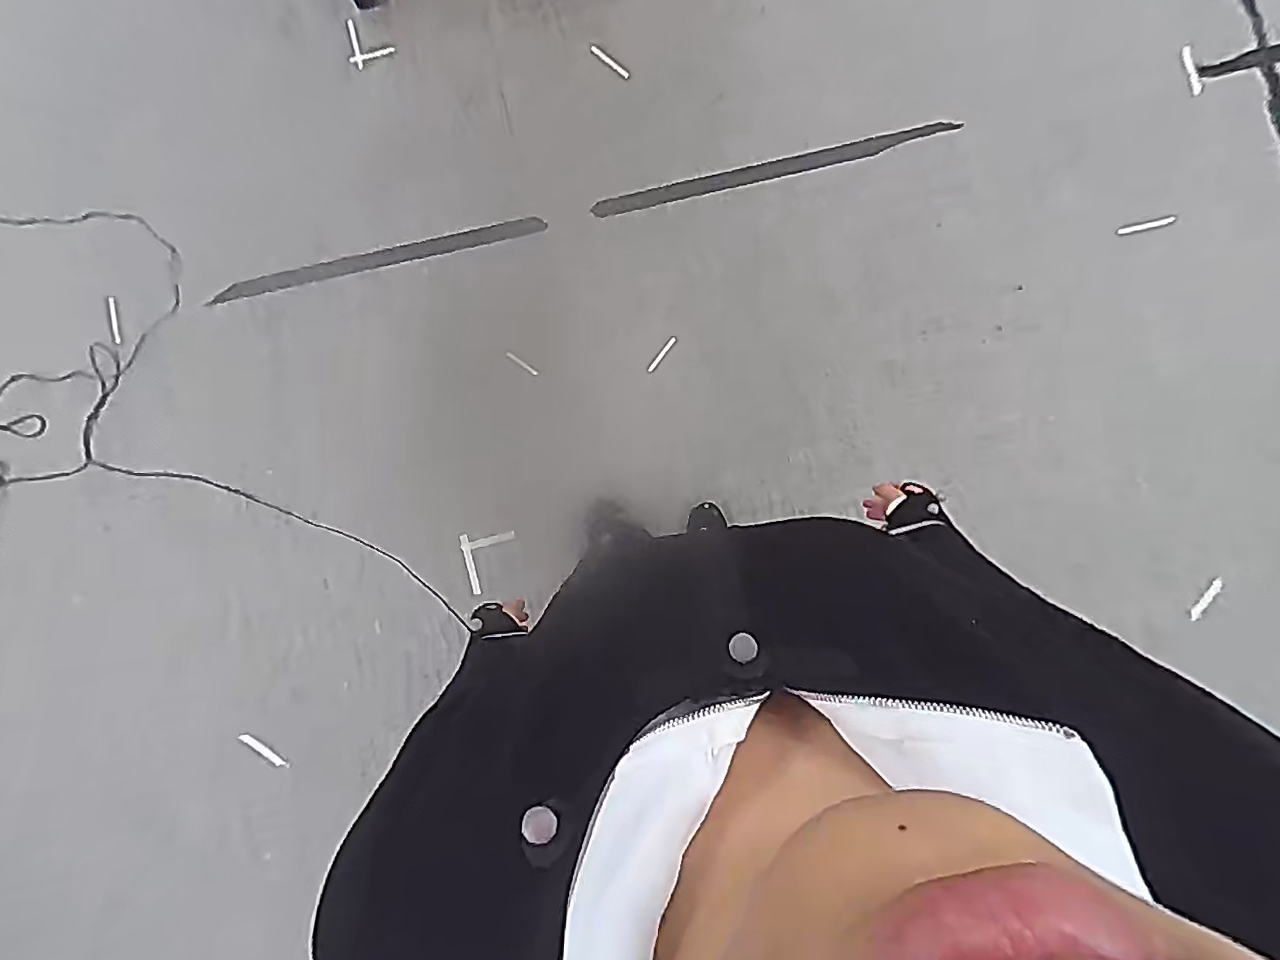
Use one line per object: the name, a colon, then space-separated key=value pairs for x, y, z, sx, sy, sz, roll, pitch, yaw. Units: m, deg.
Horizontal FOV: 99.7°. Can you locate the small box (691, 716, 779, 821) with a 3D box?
small box: x=0.221 y=0.699 z=1.297 sx=0.168 sy=0.176 sz=0.179 roll=-14 pitch=87 yaw=3
